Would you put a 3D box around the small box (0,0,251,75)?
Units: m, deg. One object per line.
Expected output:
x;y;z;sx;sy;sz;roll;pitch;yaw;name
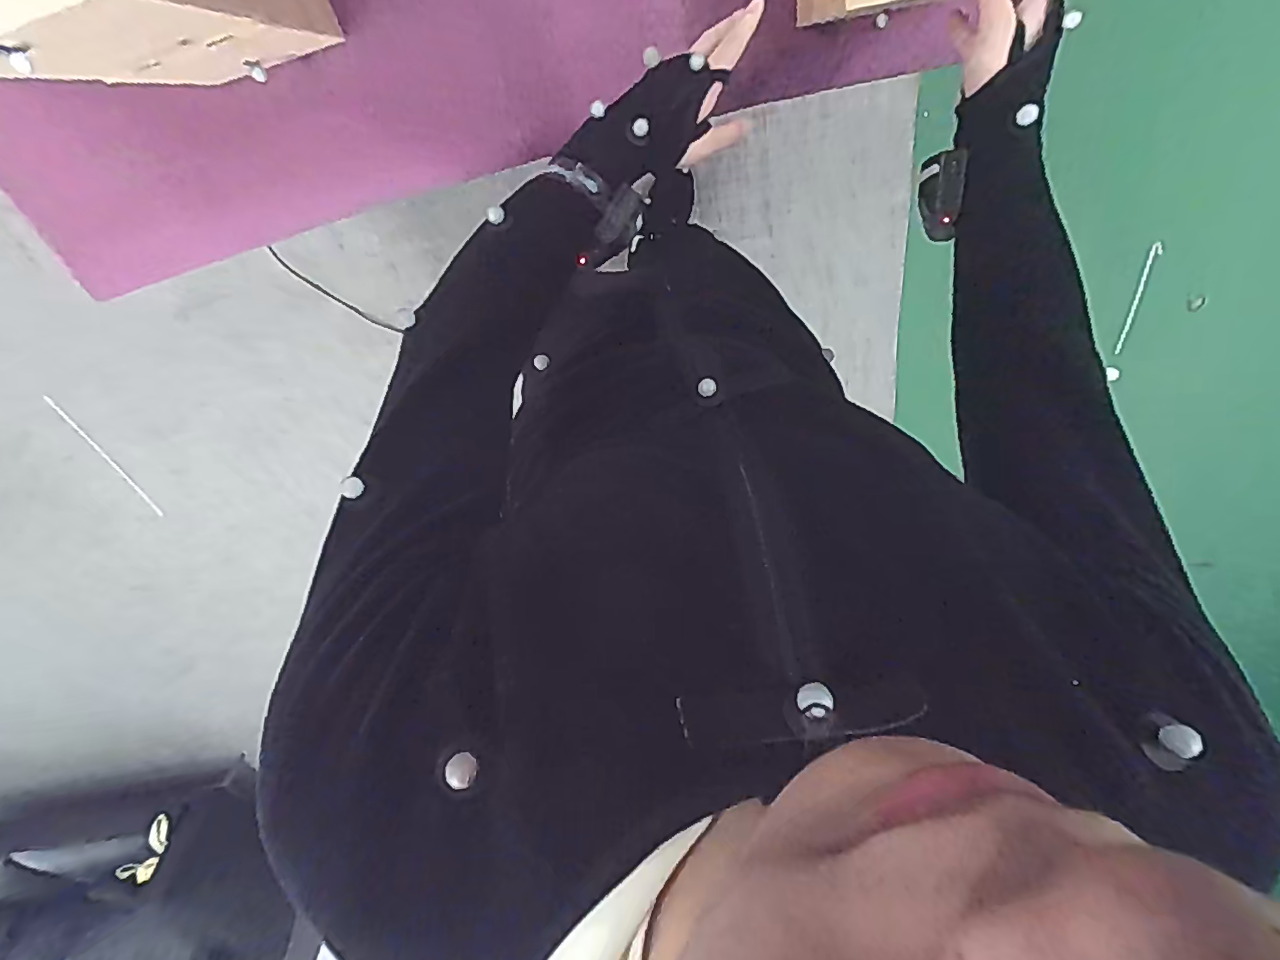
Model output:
-0.417;-0.393;0.351;0.168;0.176;0.179;-12;125;8;small box

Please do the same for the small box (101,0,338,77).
-0.419;-0.488;0.485;0.168;0.176;0.179;-12;126;8;small box
